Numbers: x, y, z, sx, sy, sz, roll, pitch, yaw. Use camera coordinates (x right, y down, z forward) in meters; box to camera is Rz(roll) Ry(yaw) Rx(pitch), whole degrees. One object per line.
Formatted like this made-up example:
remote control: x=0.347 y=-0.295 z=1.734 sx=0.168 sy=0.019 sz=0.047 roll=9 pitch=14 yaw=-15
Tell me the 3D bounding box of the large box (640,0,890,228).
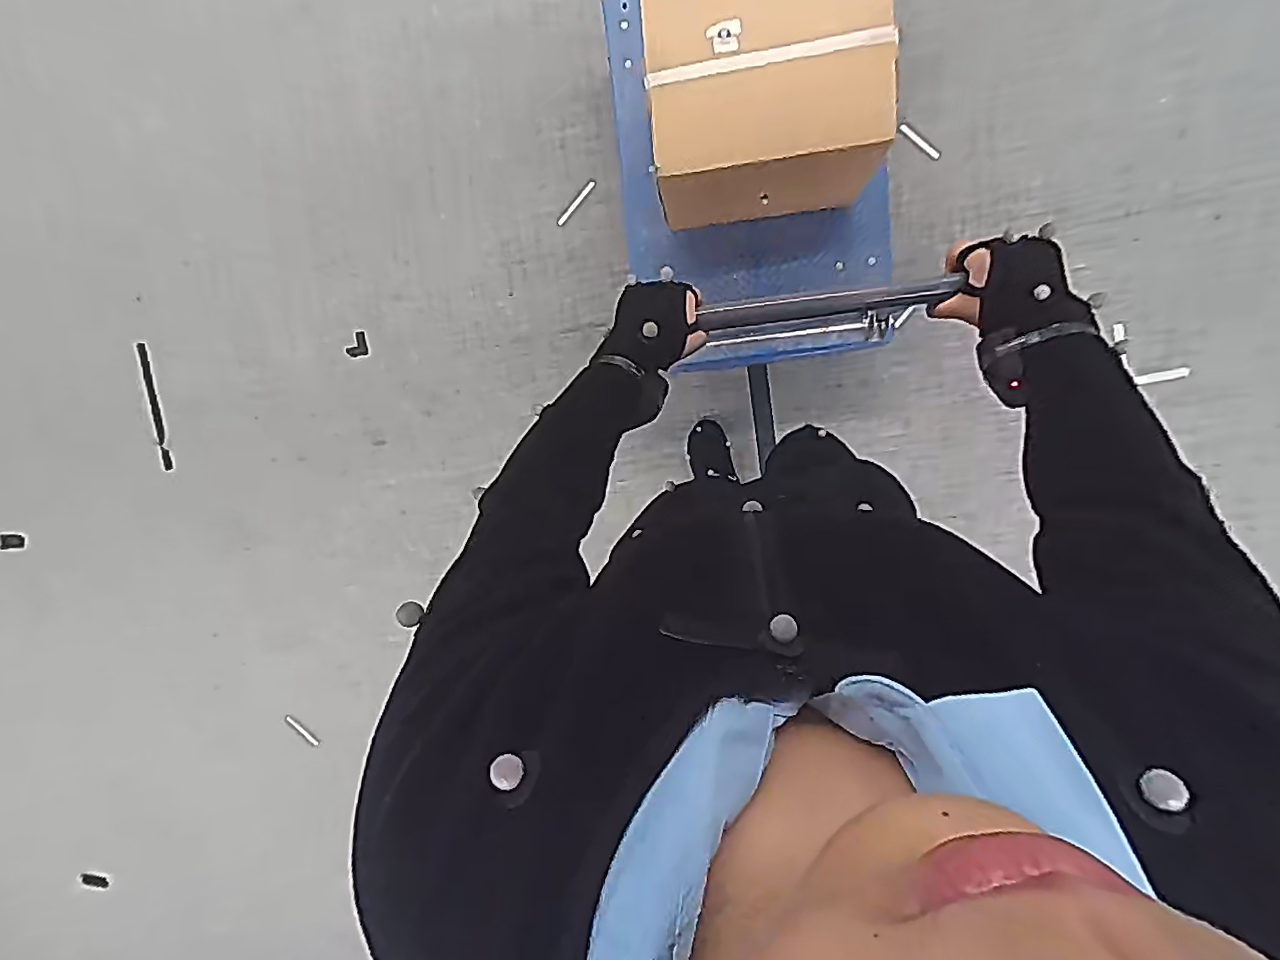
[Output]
large box: x=0.235 y=-0.733 z=1.070 sx=0.408 sy=0.320 sz=0.320 roll=-5 pitch=97 yaw=10
